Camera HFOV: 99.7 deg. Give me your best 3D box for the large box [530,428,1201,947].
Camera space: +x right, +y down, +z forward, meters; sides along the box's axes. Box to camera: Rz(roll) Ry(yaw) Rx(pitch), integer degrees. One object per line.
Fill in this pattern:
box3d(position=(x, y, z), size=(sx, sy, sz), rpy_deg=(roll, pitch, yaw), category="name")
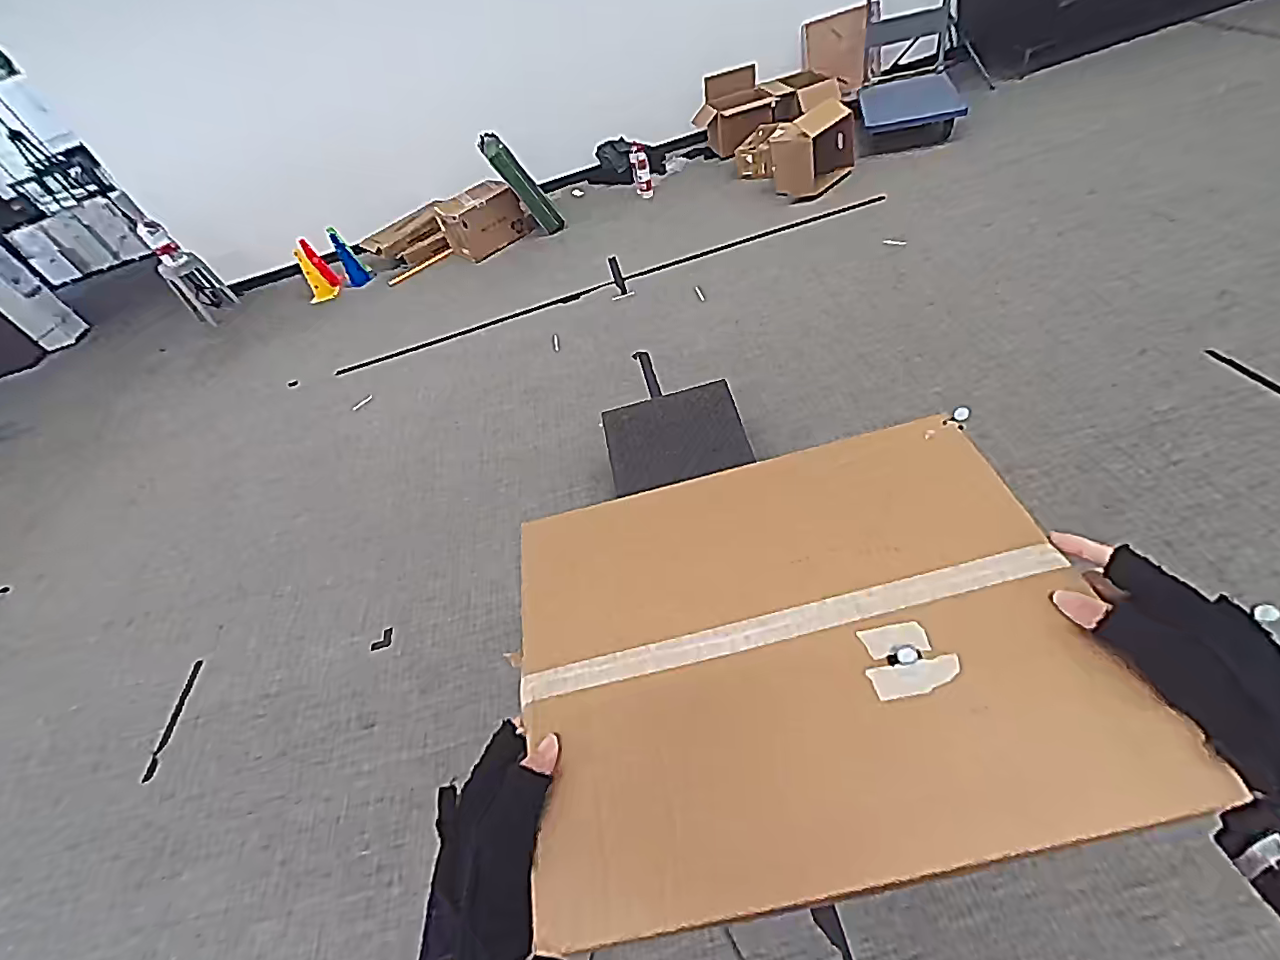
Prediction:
box3d(position=(0.139, 0.208, 0.528), size=(0.408, 0.320, 0.320), rpy_deg=(-15, 50, 2), category="large box")
